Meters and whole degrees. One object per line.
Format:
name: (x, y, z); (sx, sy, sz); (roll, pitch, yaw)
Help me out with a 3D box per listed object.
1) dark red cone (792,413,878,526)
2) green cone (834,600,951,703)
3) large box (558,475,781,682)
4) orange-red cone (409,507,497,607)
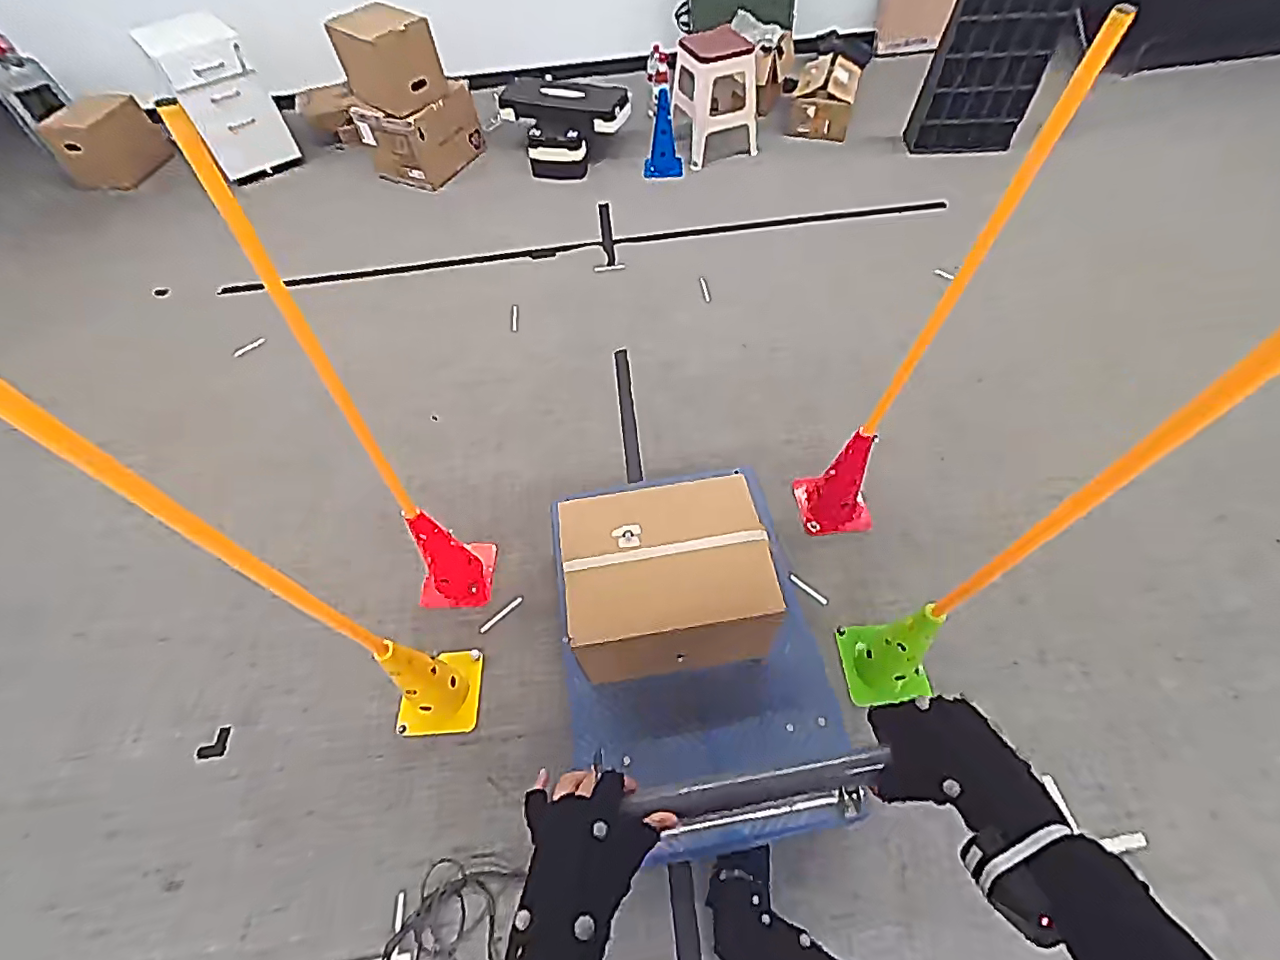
dark red cone: (0.576, -0.040, 1.503); (0.201, 0.394, 0.202); (-6, 56, -3)
green cone: (0.611, 0.368, 1.244); (0.202, 0.368, 0.200); (-3, 56, 0)
large box: (0.055, 0.228, 1.199); (0.408, 0.320, 0.320); (-10, 56, -2)
orange-red cone: (-0.535, 0.178, 1.444); (0.198, 0.360, 0.199); (0, 54, 2)
